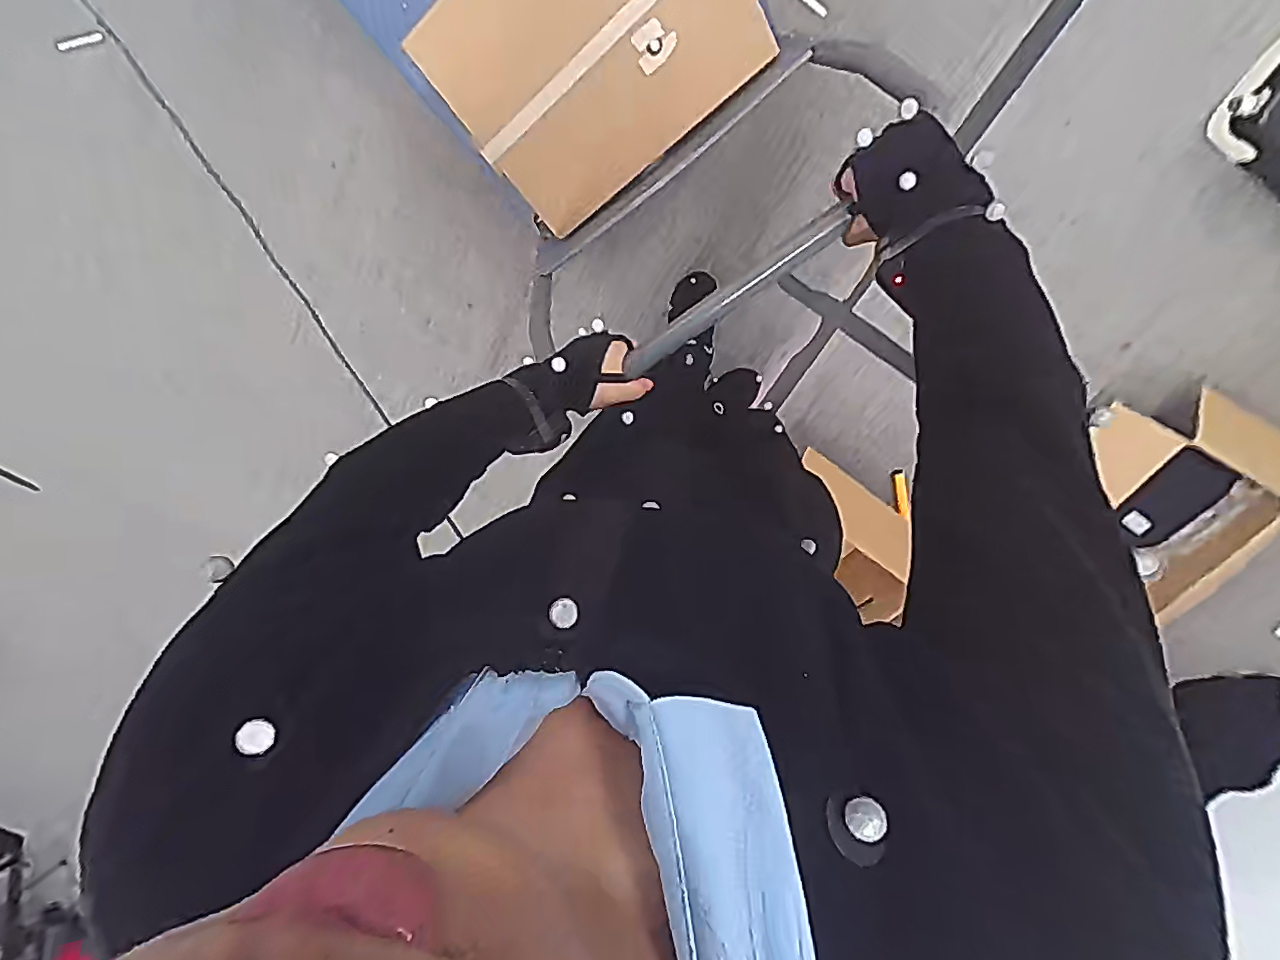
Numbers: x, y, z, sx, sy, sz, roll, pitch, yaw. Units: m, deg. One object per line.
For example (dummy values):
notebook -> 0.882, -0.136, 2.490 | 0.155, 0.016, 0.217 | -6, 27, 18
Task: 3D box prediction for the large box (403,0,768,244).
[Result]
large box -> -0.081, -0.657, 0.840 | 0.408, 0.320, 0.320 | -33, 124, 19
